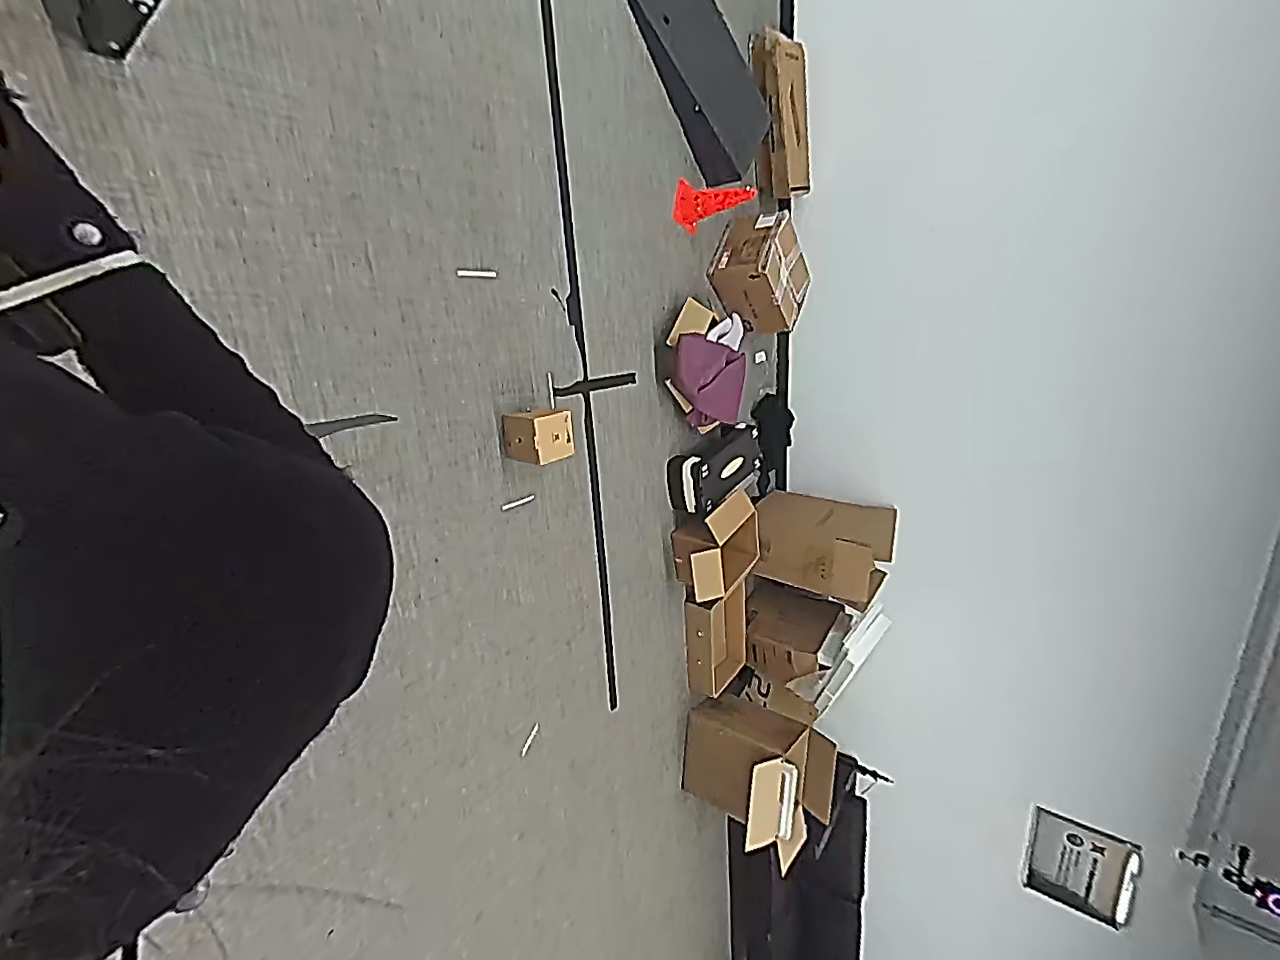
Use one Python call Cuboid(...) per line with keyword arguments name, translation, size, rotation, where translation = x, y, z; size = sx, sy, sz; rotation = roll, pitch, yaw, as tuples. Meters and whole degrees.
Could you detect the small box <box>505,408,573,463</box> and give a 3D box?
Cuboid(name="small box", translation=(-0.367, -0.163, 1.934), size=(0.179, 0.176, 0.168), rotation=(-23, 116, -48))
